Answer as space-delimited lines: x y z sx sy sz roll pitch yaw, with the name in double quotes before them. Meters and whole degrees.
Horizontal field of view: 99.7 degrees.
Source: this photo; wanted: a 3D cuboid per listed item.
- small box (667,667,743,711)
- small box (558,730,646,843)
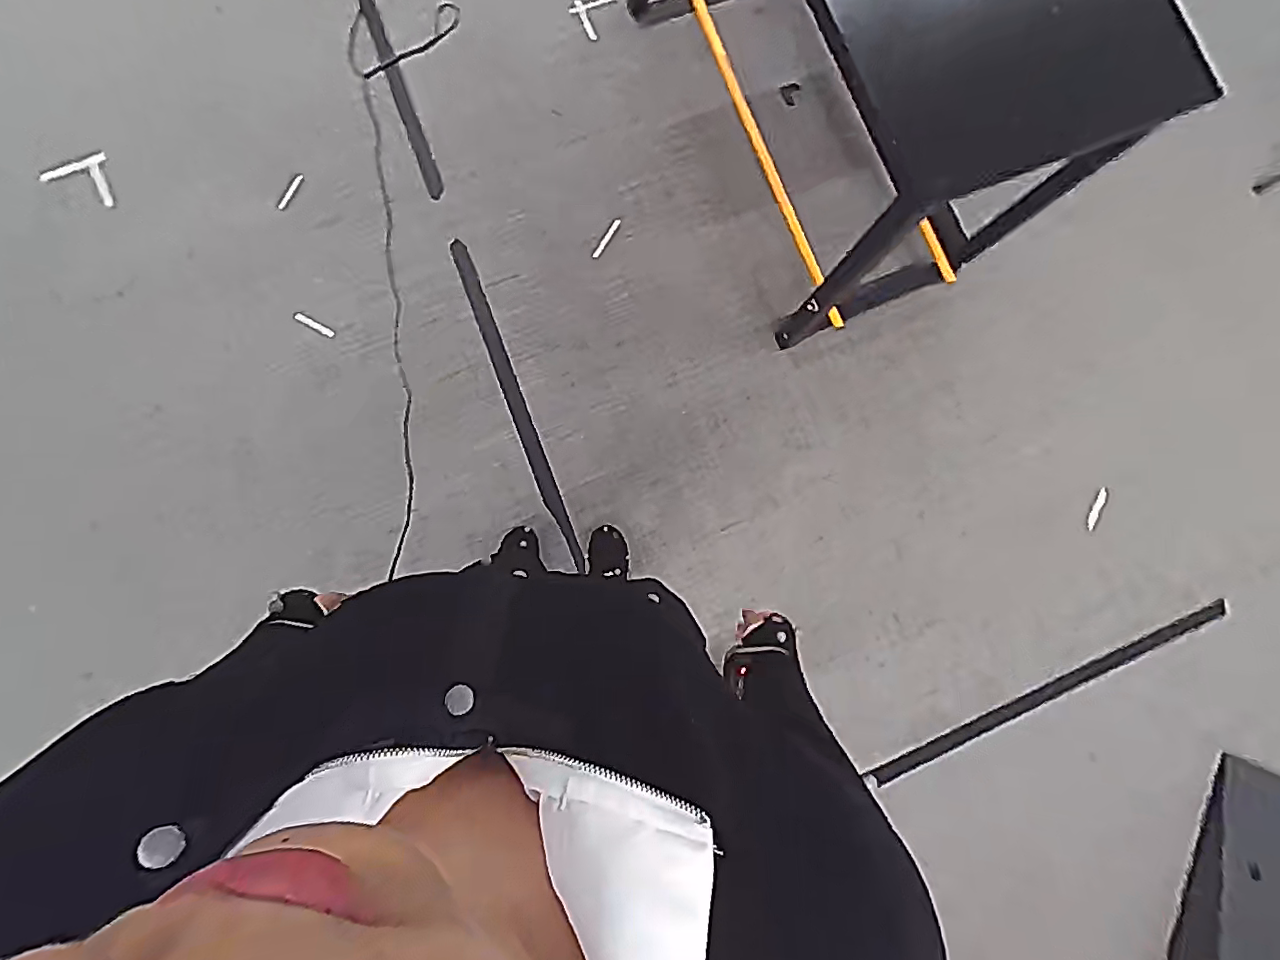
"small box" 0.184 0.610 1.402 0.179 0.176 0.168 -23 86 -5
"small box" -0.098 0.761 1.372 0.168 0.176 0.179 -22 85 -5
